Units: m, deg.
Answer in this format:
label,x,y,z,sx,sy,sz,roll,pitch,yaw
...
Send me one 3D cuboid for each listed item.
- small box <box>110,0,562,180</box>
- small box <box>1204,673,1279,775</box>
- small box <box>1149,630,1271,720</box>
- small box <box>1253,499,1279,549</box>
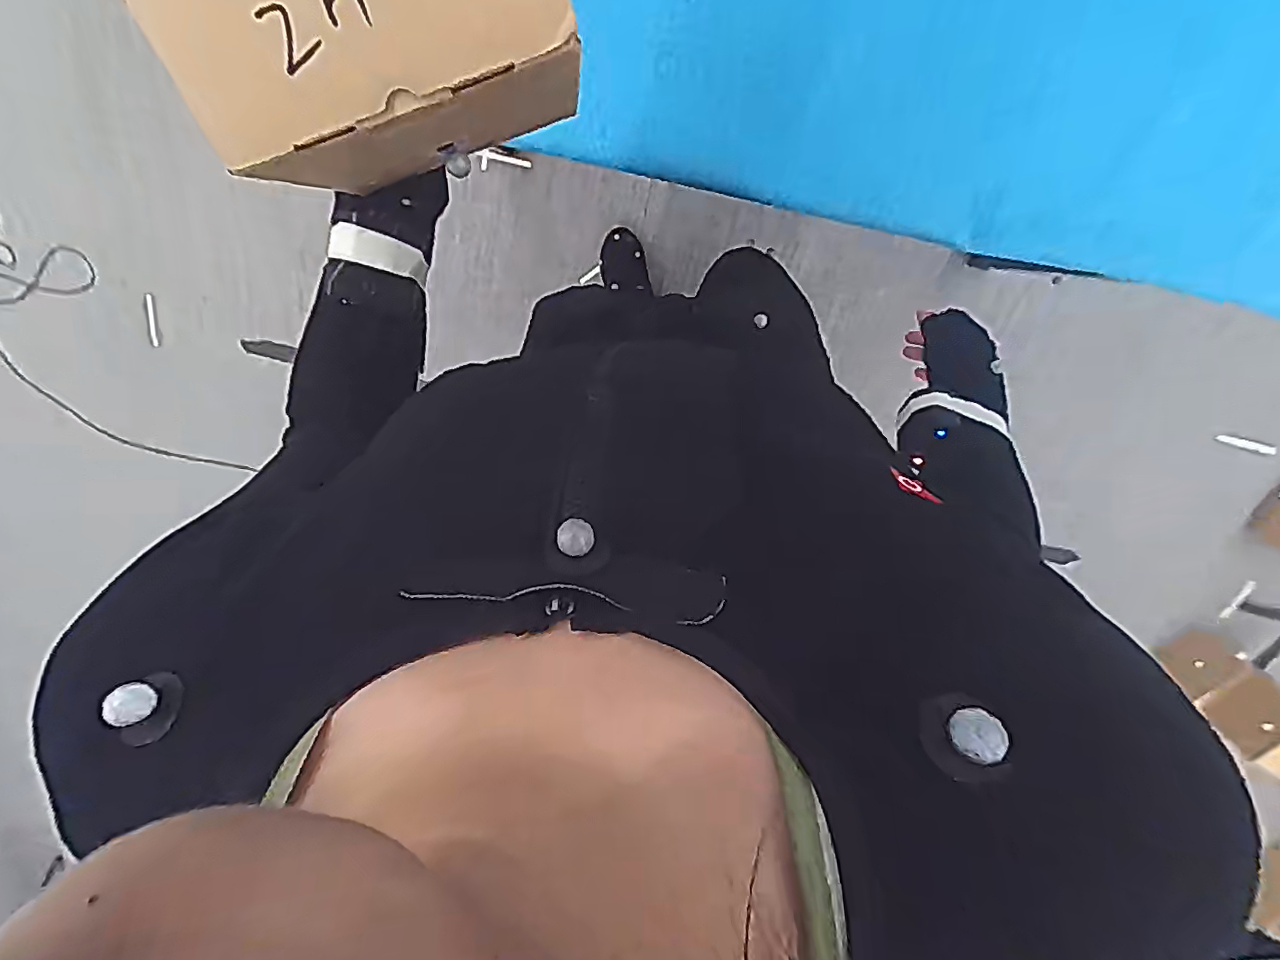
label,x,y,z,sx,sy,sz,roll,pitch,yaw
small box,-0.141,-0.266,0.269,0.168,0.176,0.179,-14,119,2
small box,1.646,0.636,1.392,0.168,0.176,0.179,27,116,-6
small box,1.636,0.562,1.542,0.168,0.176,0.179,28,116,-8
small box,1.707,0.122,1.329,0.179,0.176,0.168,12,115,0
